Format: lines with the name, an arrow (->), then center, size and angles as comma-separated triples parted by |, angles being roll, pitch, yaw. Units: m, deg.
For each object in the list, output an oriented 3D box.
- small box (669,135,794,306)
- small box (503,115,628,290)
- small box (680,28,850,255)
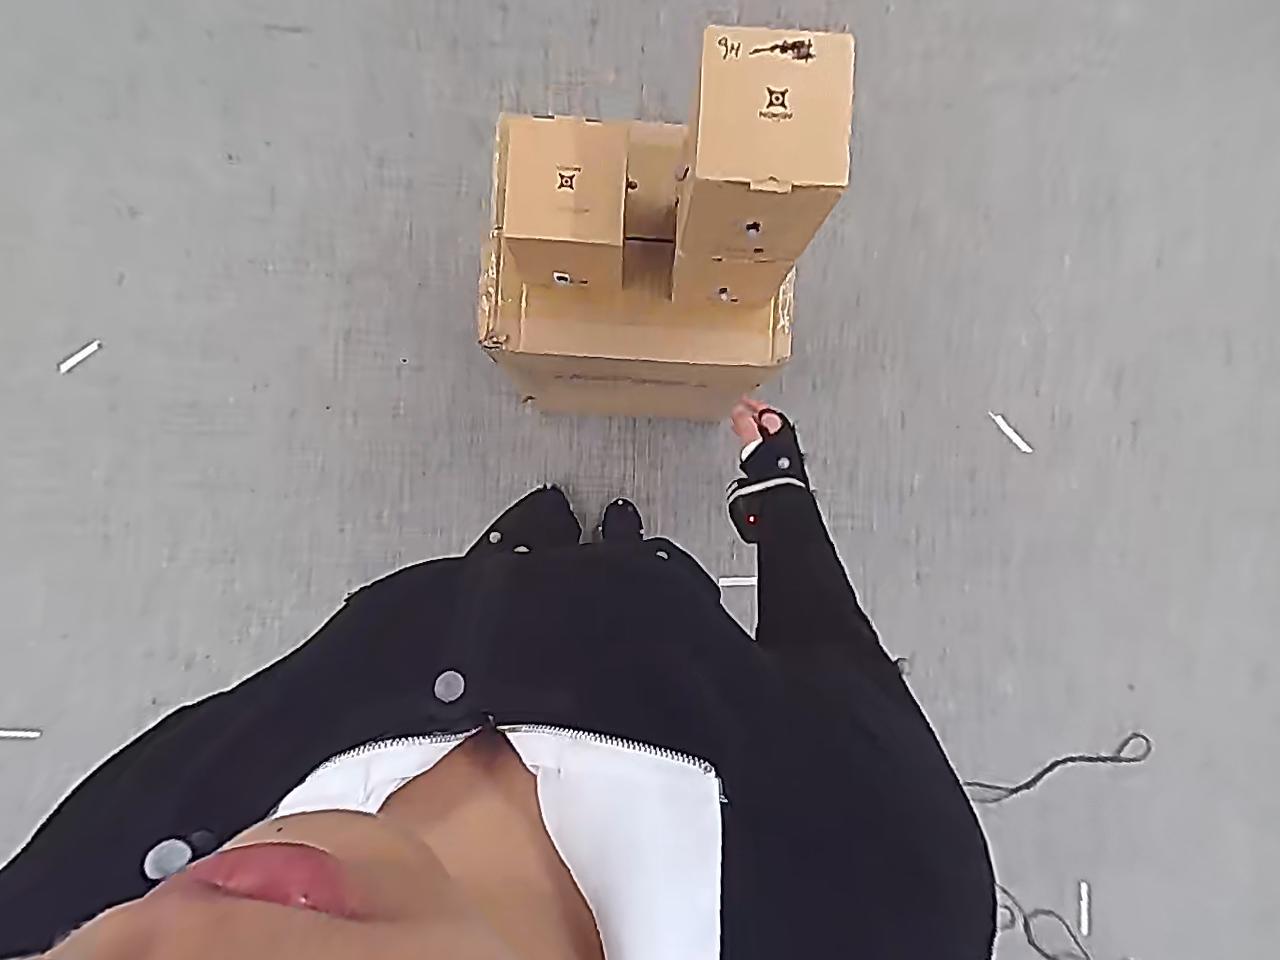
small box -> 0.133, -0.386, 0.829 | 0.168, 0.176, 0.179 | 3, 88, 0
small box -> -0.105, -0.411, 0.823 | 0.168, 0.176, 0.179 | 2, 88, -2
small box -> 0.141, -0.398, 0.665 | 0.168, 0.176, 0.179 | 4, 88, -1
